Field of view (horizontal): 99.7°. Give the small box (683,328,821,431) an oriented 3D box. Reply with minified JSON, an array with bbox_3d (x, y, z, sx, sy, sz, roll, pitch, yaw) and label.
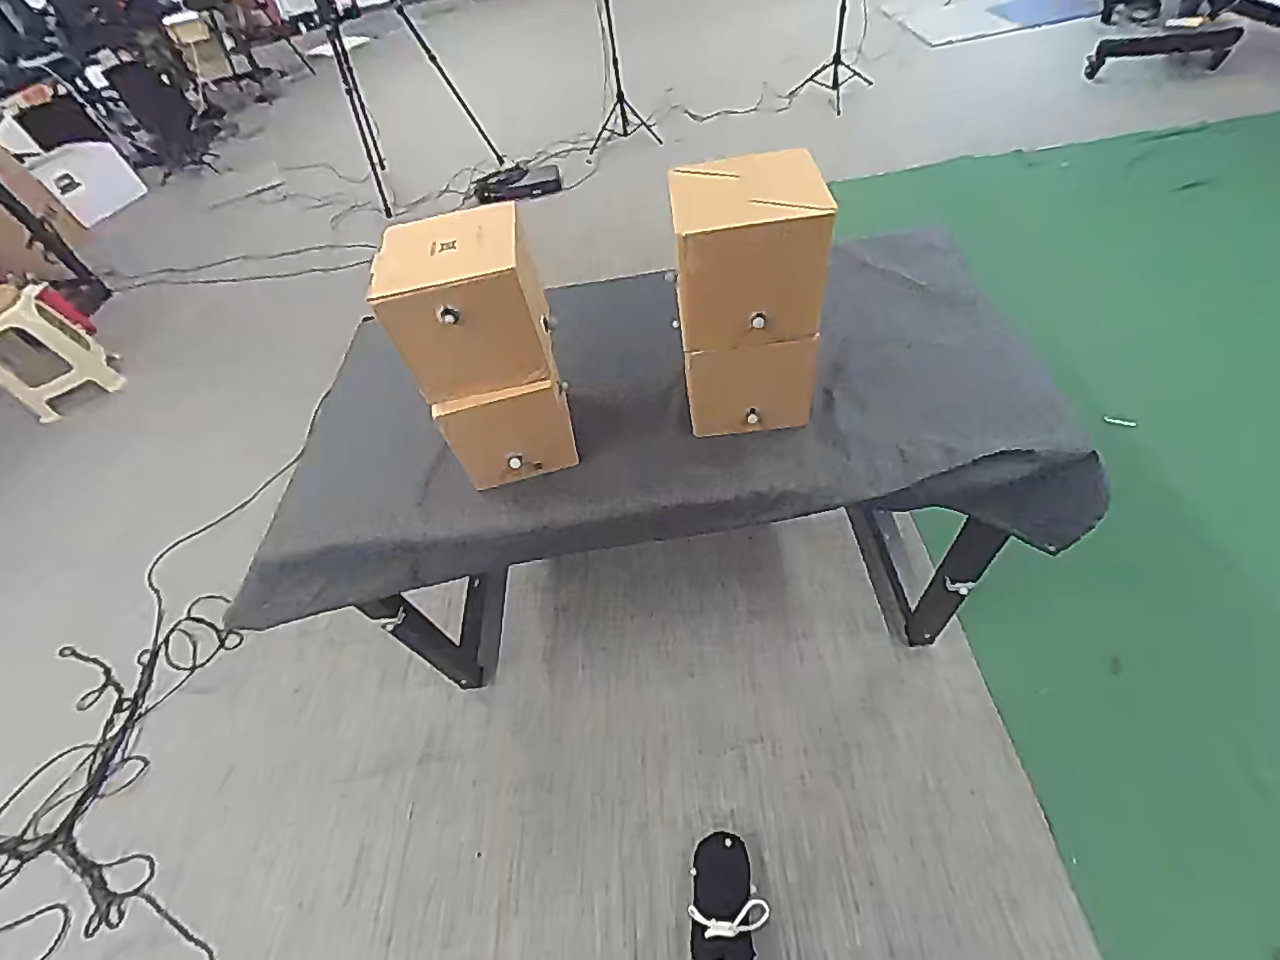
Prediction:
[{"bbox_3d":[0.156,-0.193,0.815,0.179,0.176,0.168,-6,52,5],"label":"small box"}]

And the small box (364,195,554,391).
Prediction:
[{"bbox_3d":[-0.221,-0.237,0.706,0.179,0.176,0.168,-11,53,0],"label":"small box"}]

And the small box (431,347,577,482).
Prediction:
[{"bbox_3d":[-0.202,-0.126,0.825,0.168,0.176,0.179,-15,52,-1],"label":"small box"}]

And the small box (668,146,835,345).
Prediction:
[{"bbox_3d":[0.130,-0.297,0.685,0.179,0.176,0.168,-6,52,6],"label":"small box"}]
